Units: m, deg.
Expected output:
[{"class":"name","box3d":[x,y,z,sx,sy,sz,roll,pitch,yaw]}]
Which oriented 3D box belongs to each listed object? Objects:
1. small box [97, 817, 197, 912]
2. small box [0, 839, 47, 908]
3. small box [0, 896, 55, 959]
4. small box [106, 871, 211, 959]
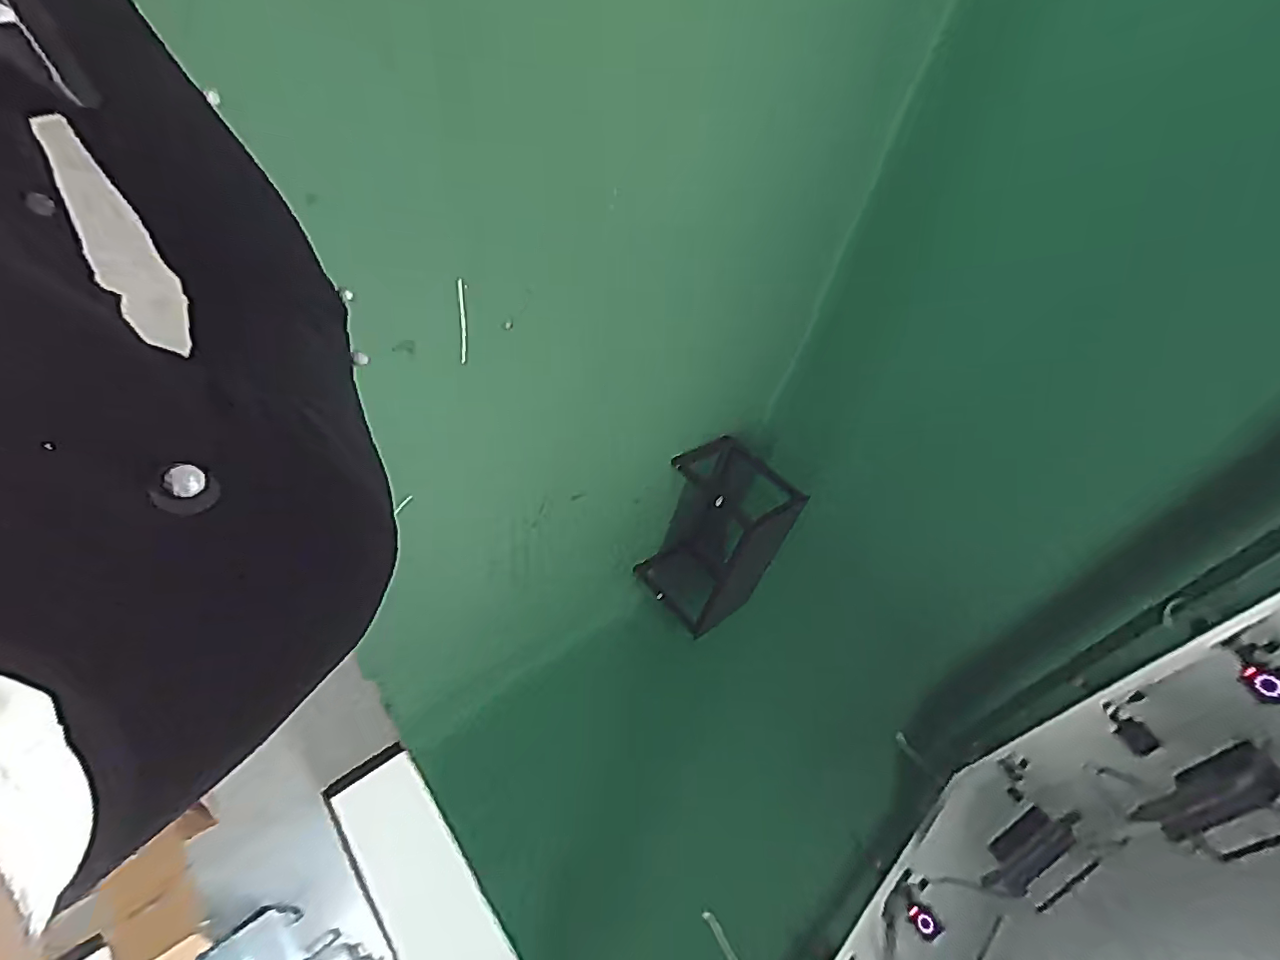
[{"class":"small box","box3d":[-1.406,1.111,1.545,0.168,0.176,0.179,-21,143,-39]},{"class":"small box","box3d":[-1.739,1.104,1.441,0.168,0.176,0.179,-21,143,-37]},{"class":"small box","box3d":[-1.632,1.200,1.360,0.168,0.176,0.179,-20,143,-38]},{"class":"small box","box3d":[-1.303,1.211,1.467,0.168,0.176,0.179,-22,144,-39]}]
